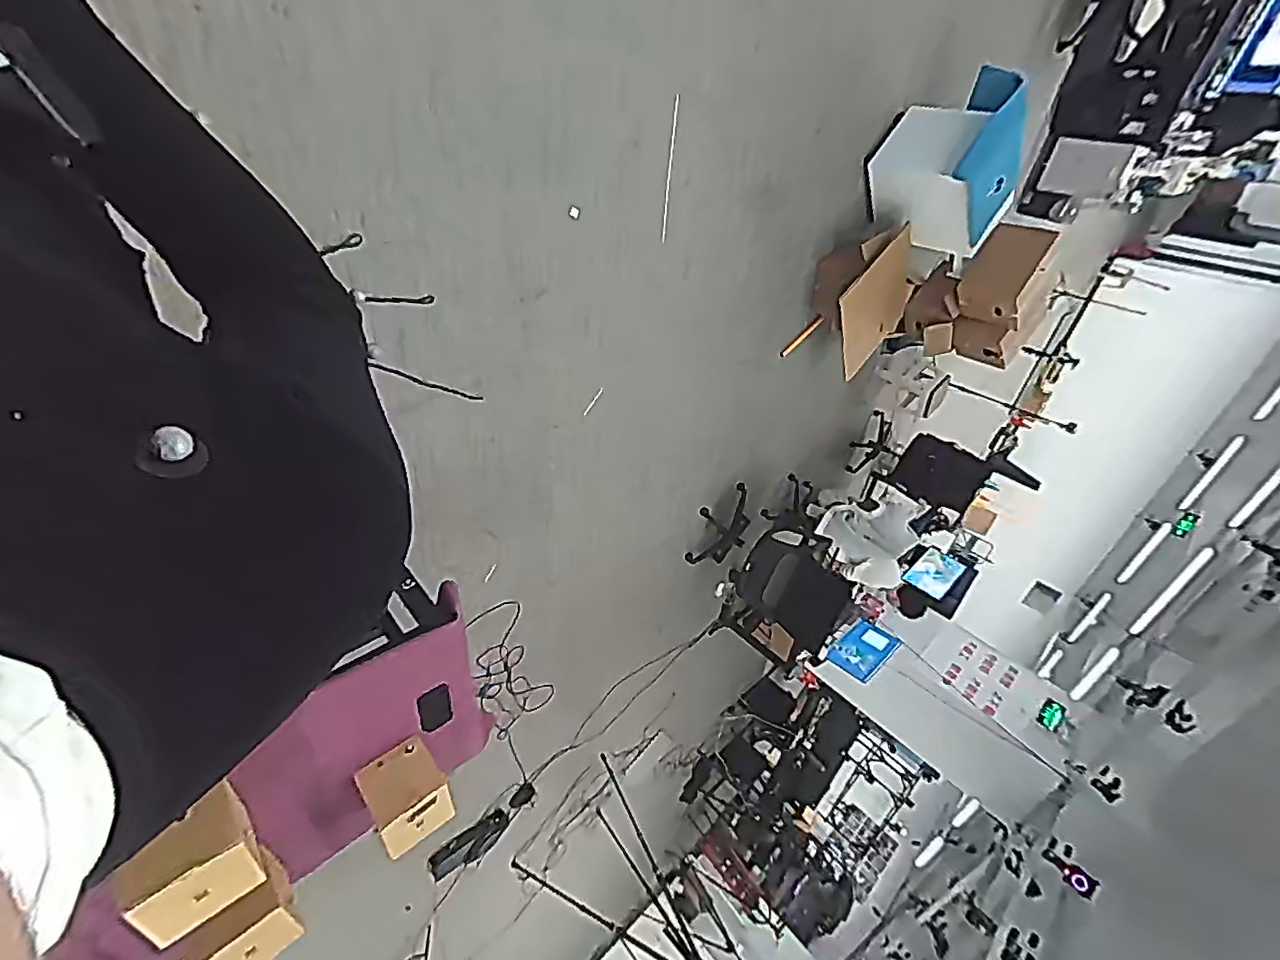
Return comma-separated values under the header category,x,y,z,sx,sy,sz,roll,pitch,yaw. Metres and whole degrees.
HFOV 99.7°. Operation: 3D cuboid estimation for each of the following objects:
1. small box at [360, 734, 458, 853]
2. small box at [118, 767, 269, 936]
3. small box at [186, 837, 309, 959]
category,x,y,z,sx,sy,sz,roll,pitch,yaw
small box,-0.587,0.785,1.374,0.168,0.176,0.179,-25,136,-34
small box,-0.828,0.682,1.009,0.168,0.176,0.179,-23,135,-36
small box,-0.861,0.933,1.183,0.168,0.176,0.179,-26,135,-35
